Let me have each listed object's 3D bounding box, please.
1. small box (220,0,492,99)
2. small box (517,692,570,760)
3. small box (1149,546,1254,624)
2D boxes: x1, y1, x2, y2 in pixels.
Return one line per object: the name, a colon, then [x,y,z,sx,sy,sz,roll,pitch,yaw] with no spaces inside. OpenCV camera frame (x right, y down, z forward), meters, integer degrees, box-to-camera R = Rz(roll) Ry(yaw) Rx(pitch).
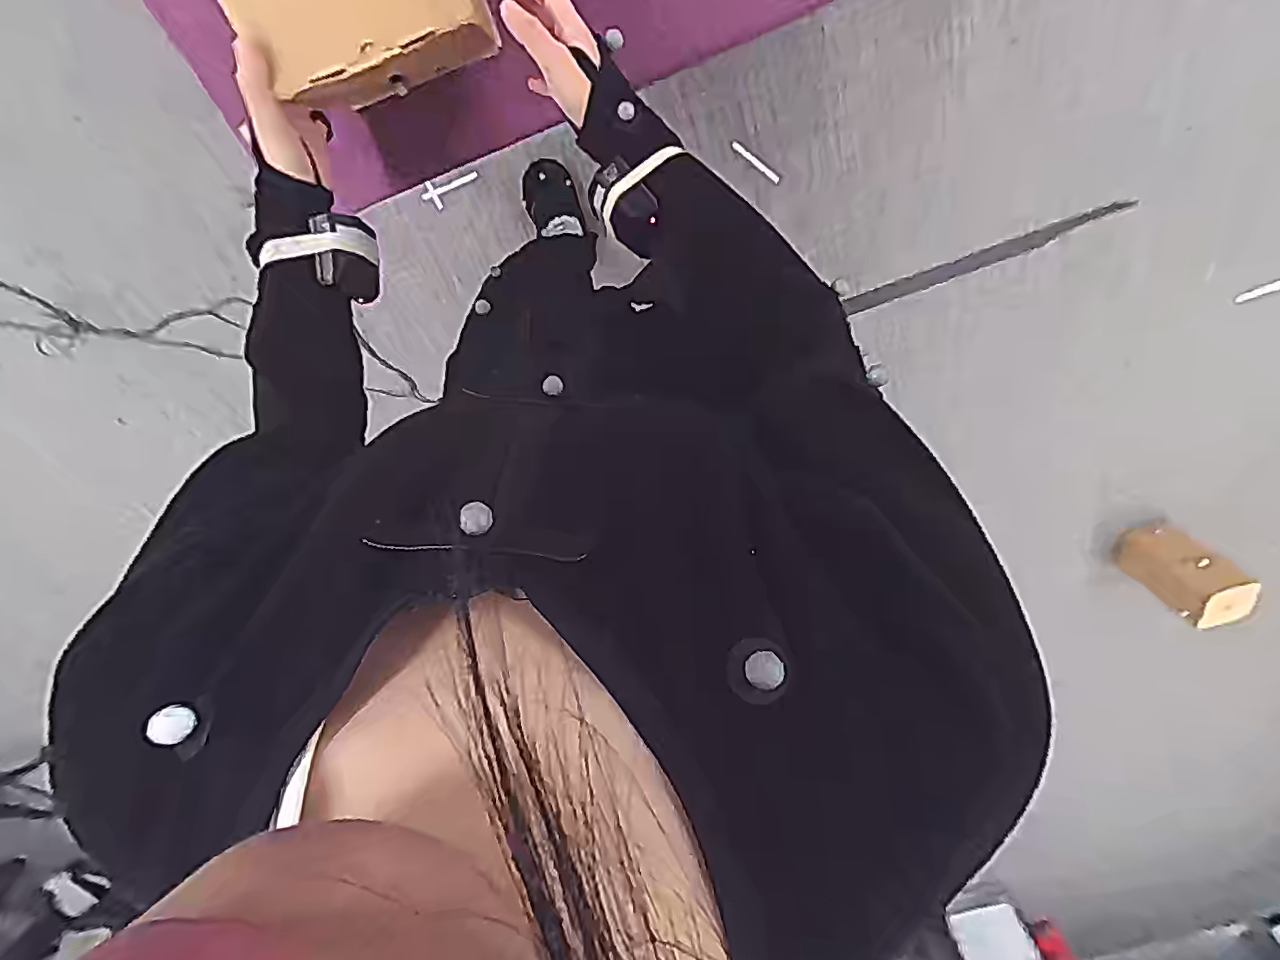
small box: [-0.233,-0.426,0.420,0.168,0.176,0.179,-18,124,5]
small box: [-0.387,0.995,2.189,0.168,0.176,0.179,18,119,-16]
small box: [1.905,0.356,1.848,0.168,0.176,0.179,-17,122,3]
